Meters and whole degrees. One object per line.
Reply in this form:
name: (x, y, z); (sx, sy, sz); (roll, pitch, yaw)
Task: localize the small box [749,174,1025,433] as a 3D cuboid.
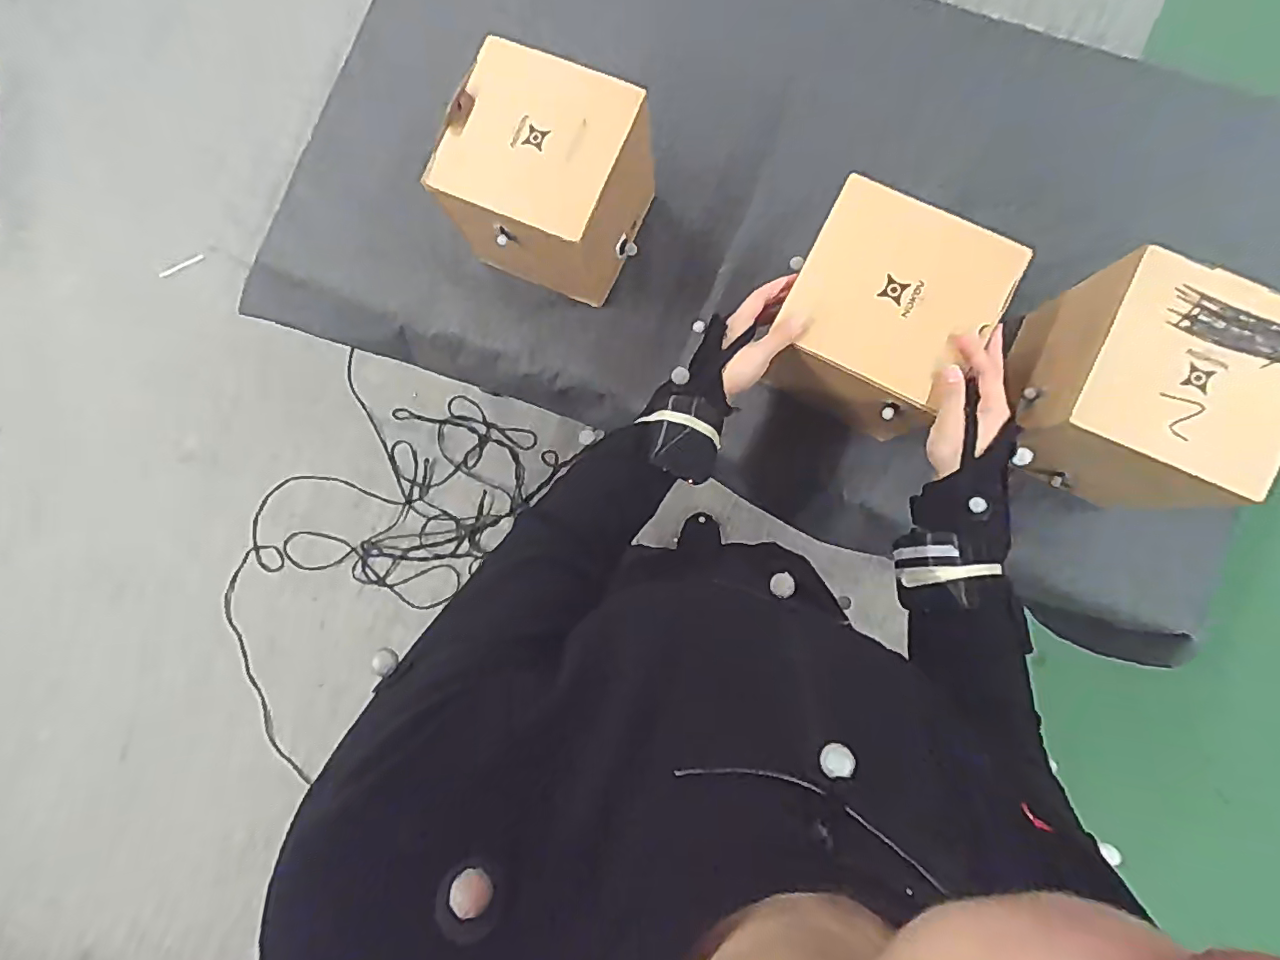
small box: (0.229, -0.161, 0.555); (0.179, 0.176, 0.168); (27, 89, 5)

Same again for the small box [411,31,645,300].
small box: (-0.105, -0.324, 0.594); (0.179, 0.176, 0.168); (23, 88, 4)
